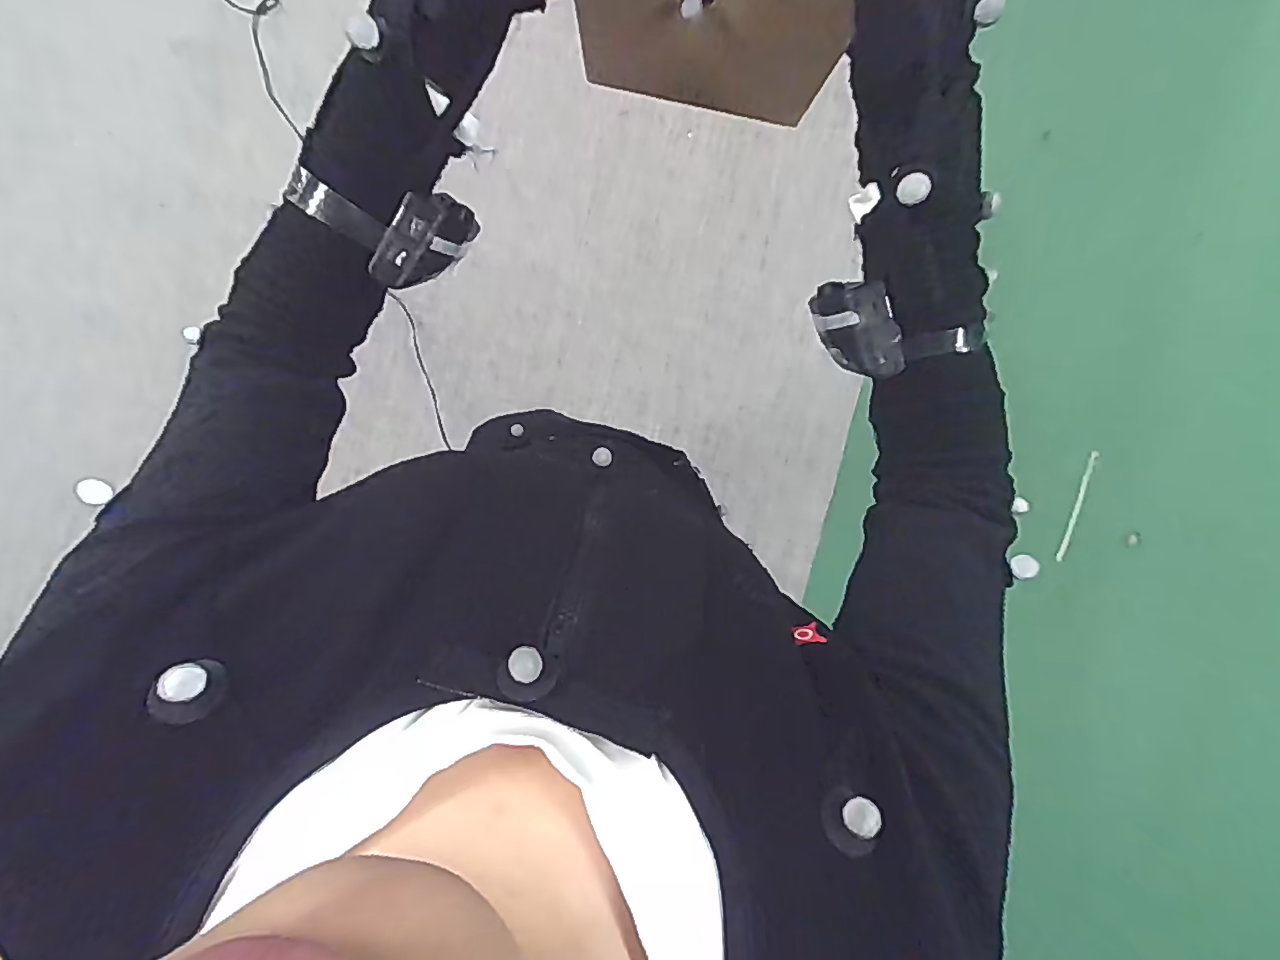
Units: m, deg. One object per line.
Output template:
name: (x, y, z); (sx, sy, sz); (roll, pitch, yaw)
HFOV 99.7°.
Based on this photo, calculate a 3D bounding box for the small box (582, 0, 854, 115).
small box: (0.058, -0.370, 0.343); (0.179, 0.176, 0.168); (11, 99, -3)
